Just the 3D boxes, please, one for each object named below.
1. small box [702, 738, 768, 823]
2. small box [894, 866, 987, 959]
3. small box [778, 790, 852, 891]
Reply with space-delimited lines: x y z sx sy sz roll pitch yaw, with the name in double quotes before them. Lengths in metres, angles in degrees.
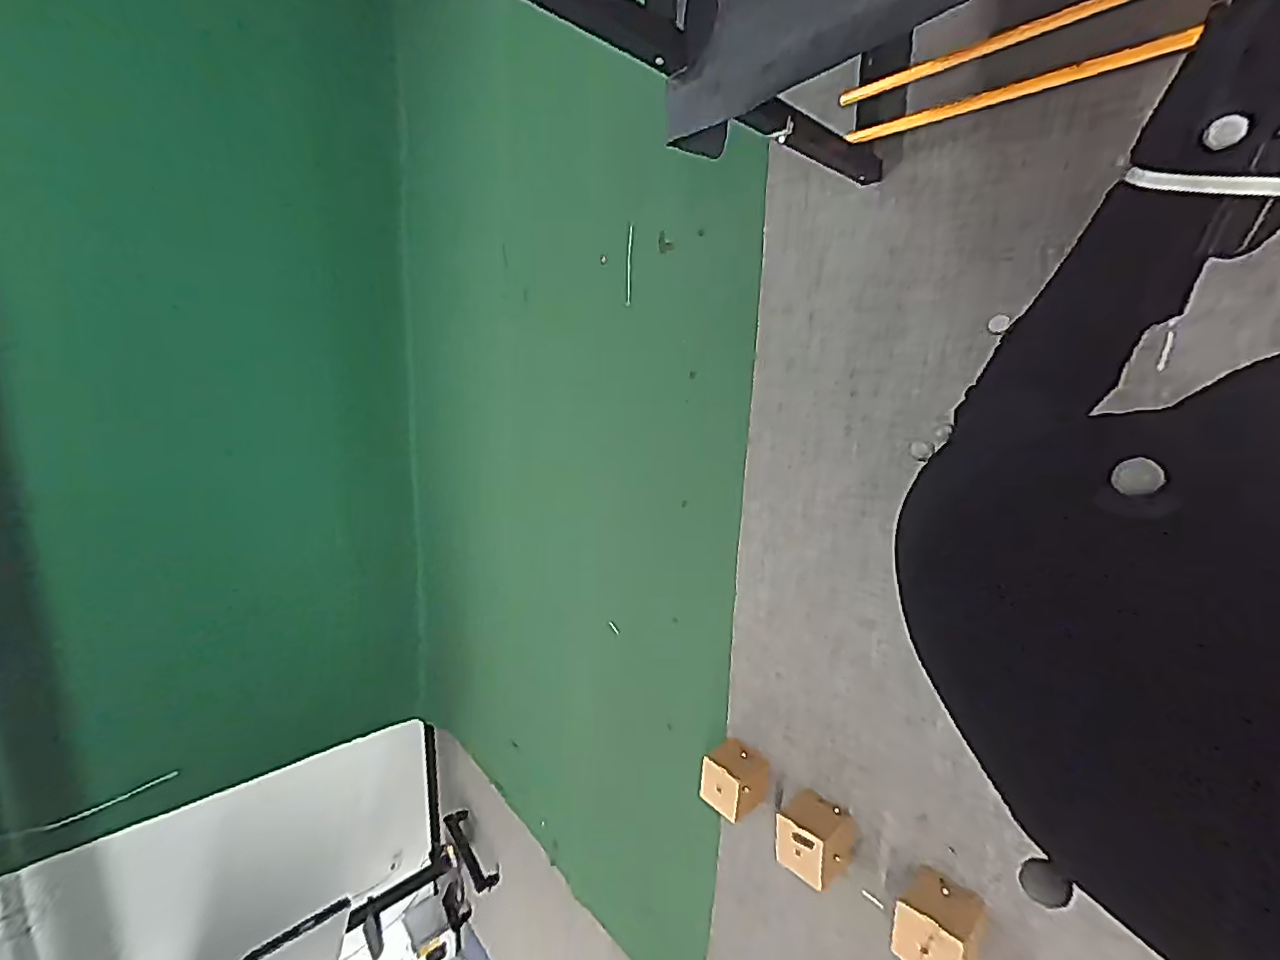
"small box" 0.346 1.082 1.961 0.168 0.176 0.179 16 107 46
"small box" 0.807 1.200 1.450 0.168 0.176 0.179 12 104 46
"small box" 0.560 1.137 1.725 0.168 0.176 0.179 9 103 48
